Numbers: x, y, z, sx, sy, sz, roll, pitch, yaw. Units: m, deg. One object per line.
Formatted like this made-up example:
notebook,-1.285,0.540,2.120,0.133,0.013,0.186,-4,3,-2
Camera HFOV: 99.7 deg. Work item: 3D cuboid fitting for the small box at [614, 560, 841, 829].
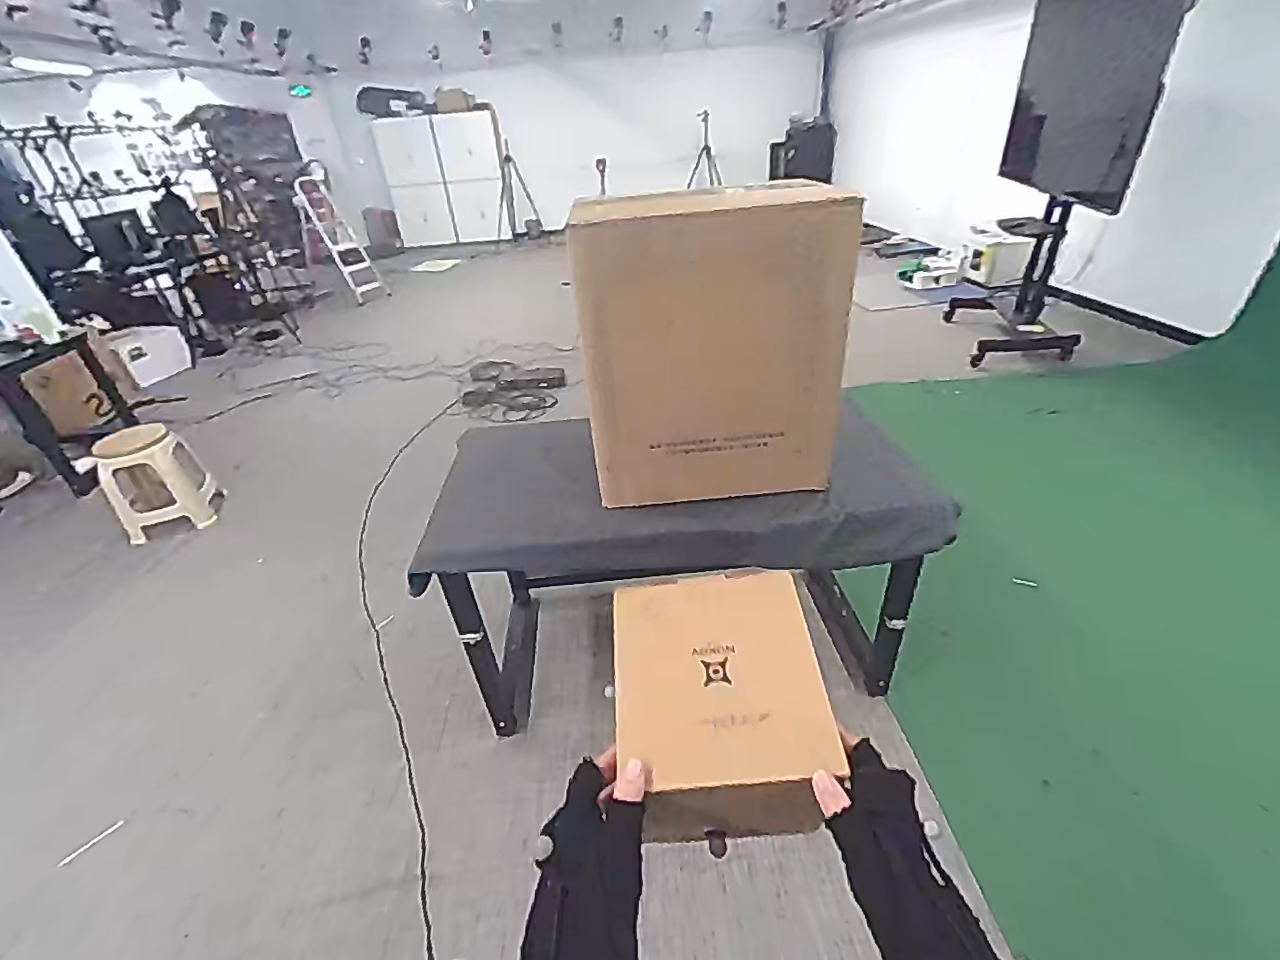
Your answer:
small box,0.067,0.199,0.502,0.168,0.176,0.179,-7,46,2
